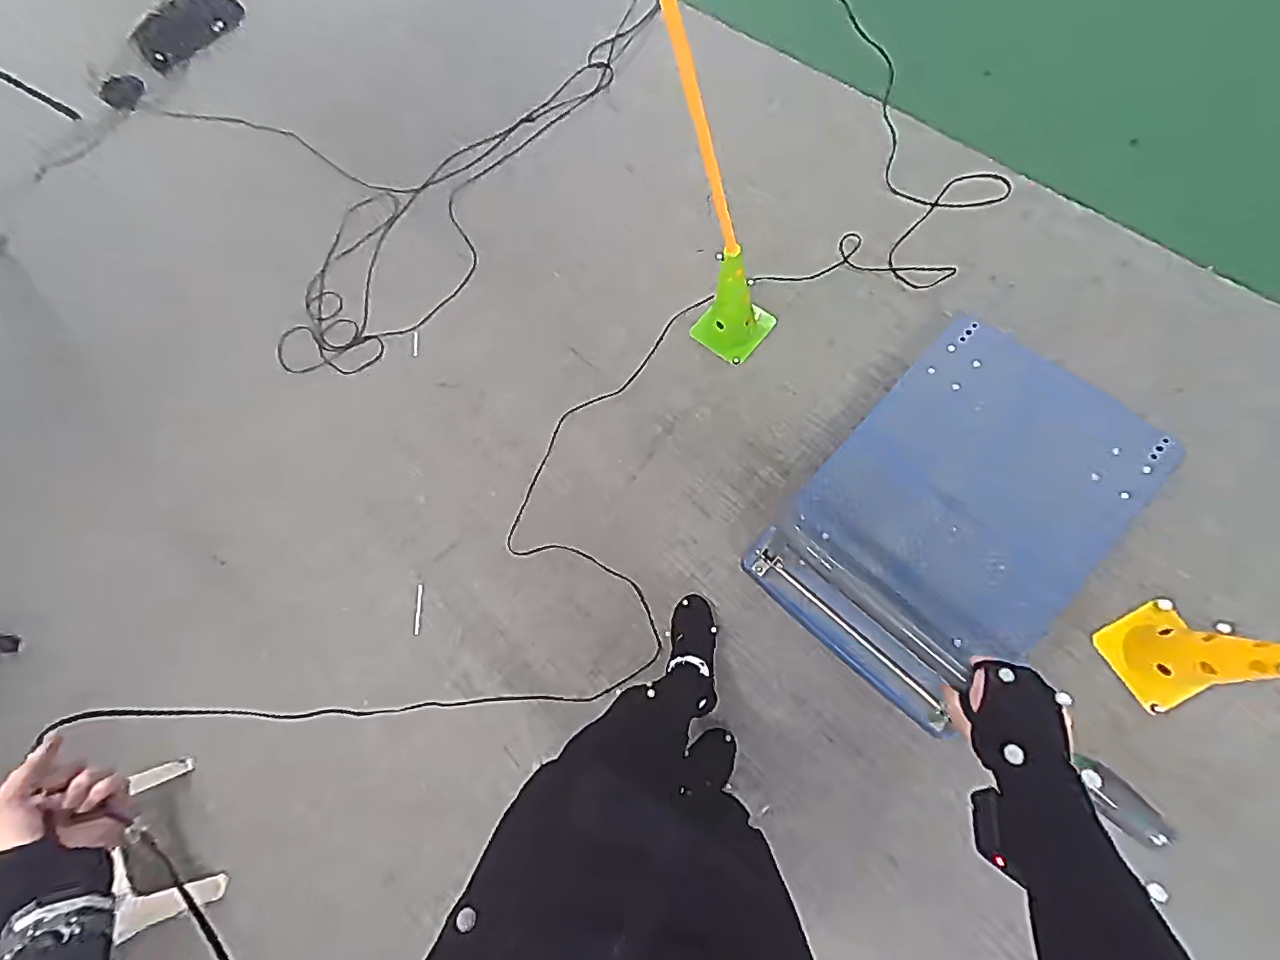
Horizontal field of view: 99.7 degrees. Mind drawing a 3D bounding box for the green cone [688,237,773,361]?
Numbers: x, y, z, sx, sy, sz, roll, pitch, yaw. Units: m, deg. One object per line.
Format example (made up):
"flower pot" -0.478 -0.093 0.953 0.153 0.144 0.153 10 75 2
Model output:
"green cone" 0.245 -0.527 1.489 0.202 0.368 0.200 38 83 19
